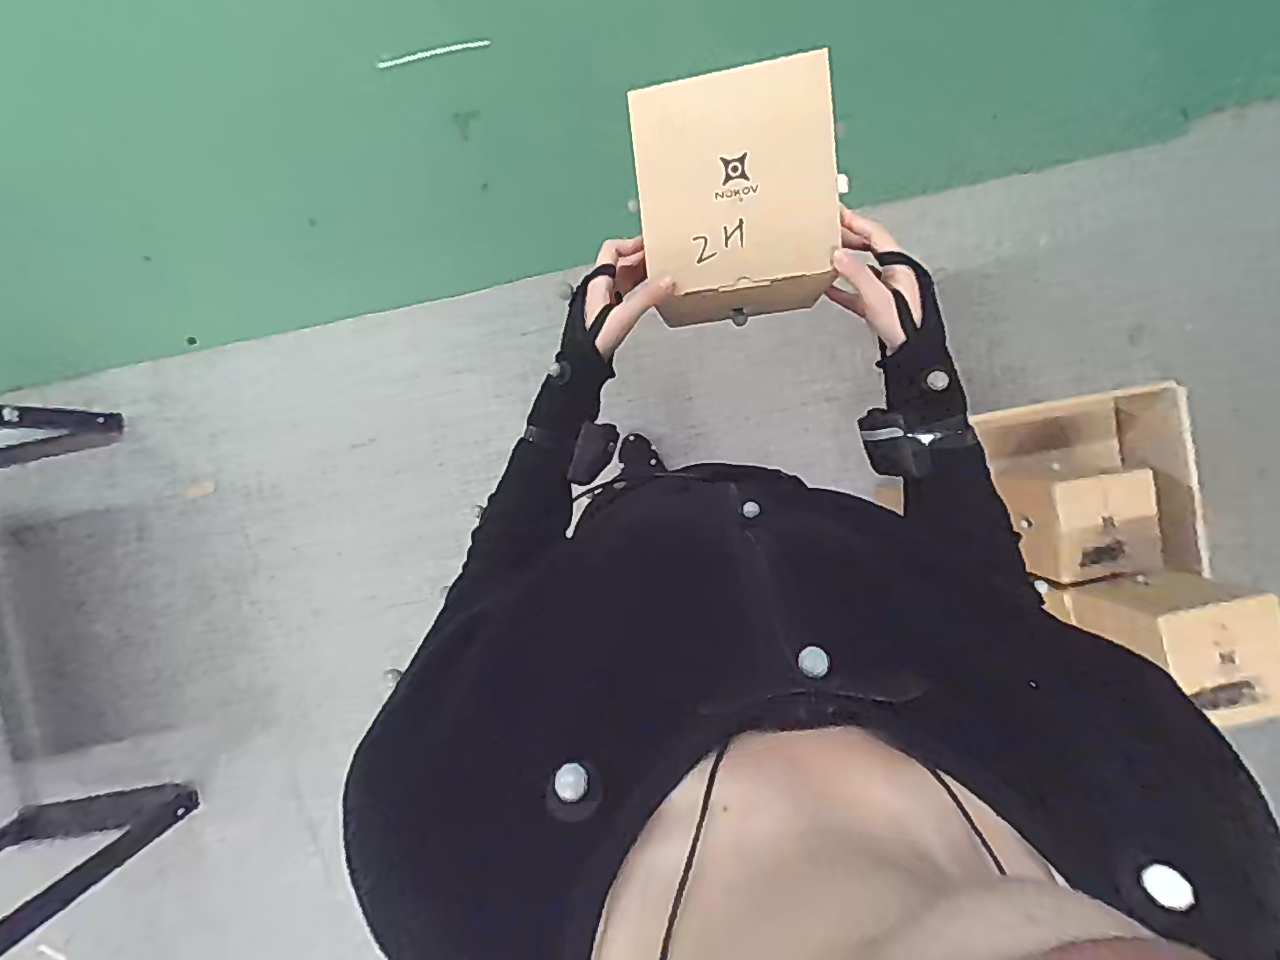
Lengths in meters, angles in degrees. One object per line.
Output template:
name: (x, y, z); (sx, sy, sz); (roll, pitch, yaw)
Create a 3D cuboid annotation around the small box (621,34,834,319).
small box: (0.083, -0.269, 0.525); (0.168, 0.176, 0.179); (-5, 96, 10)
